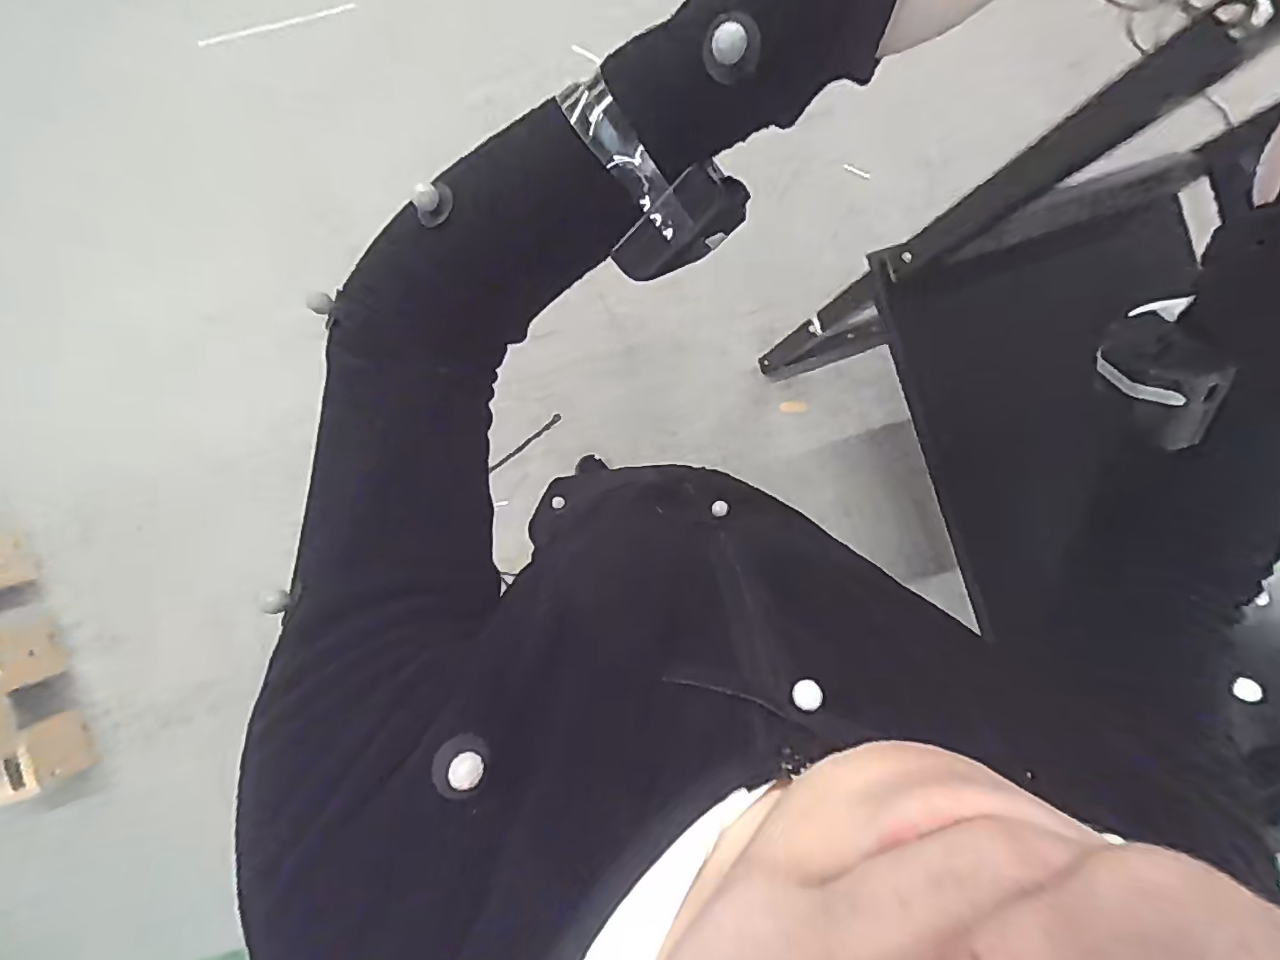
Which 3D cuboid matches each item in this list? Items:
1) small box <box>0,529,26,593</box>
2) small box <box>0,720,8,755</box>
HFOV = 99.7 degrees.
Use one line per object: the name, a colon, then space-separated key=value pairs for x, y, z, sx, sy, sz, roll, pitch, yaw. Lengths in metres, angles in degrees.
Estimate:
small box: x=-1.772 y=0.230 z=1.403 sx=0.179 sy=0.176 sz=0.168 roll=-17 pitch=91 yaw=-4
small box: x=-1.638 y=0.602 z=1.239 sx=0.168 sy=0.176 sz=0.179 roll=-15 pitch=91 yaw=-4
